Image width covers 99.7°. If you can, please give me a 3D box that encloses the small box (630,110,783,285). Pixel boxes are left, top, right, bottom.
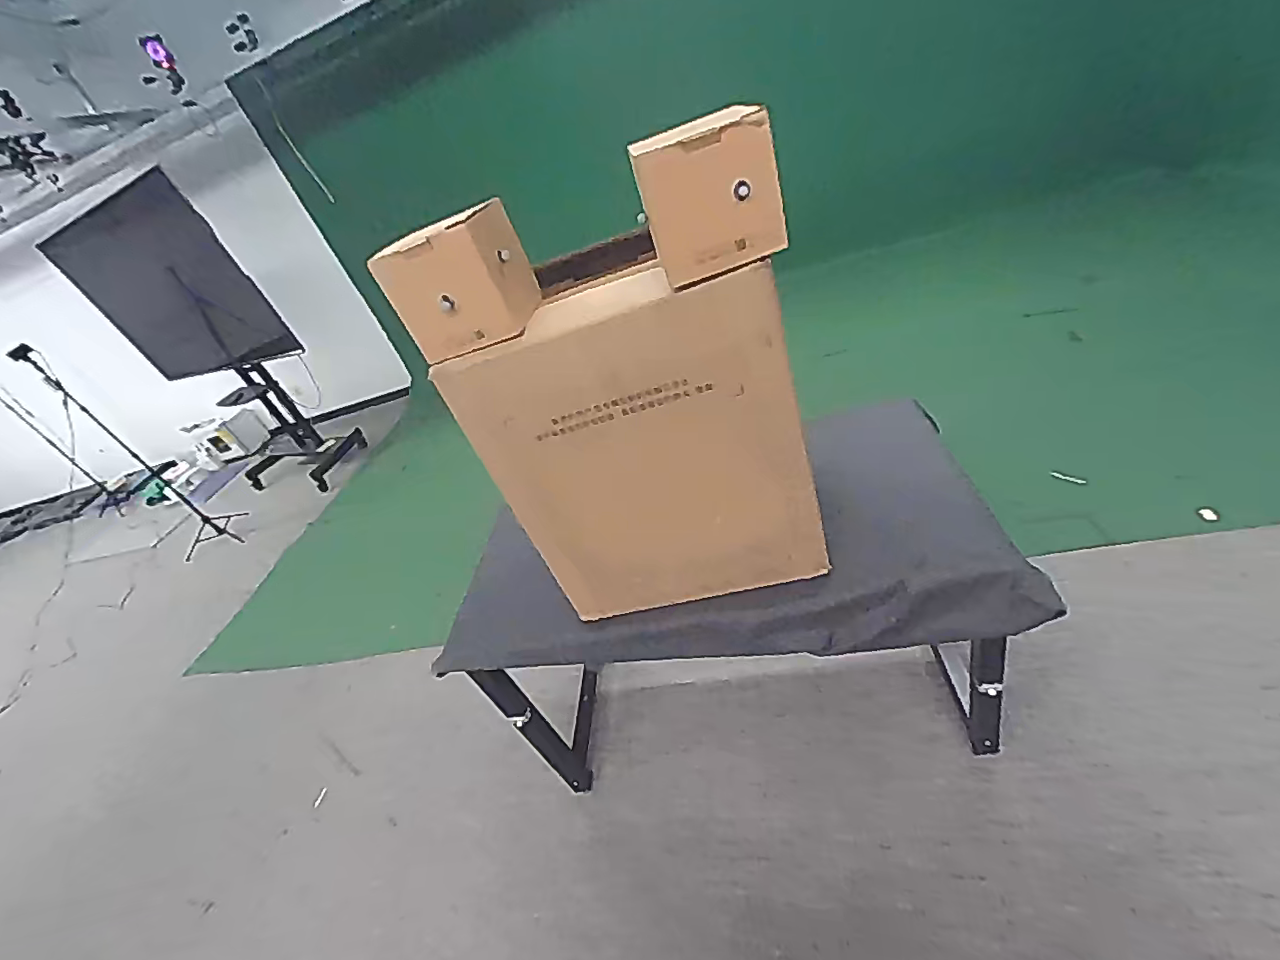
[{"bbox_3d":[0.091,-0.391,0.756,0.168,0.176,0.179,-16,34,6],"label":"small box"}]

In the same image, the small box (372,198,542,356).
[{"bbox_3d":[-0.273,-0.314,0.856,0.168,0.176,0.179,-13,36,14],"label":"small box"}]
